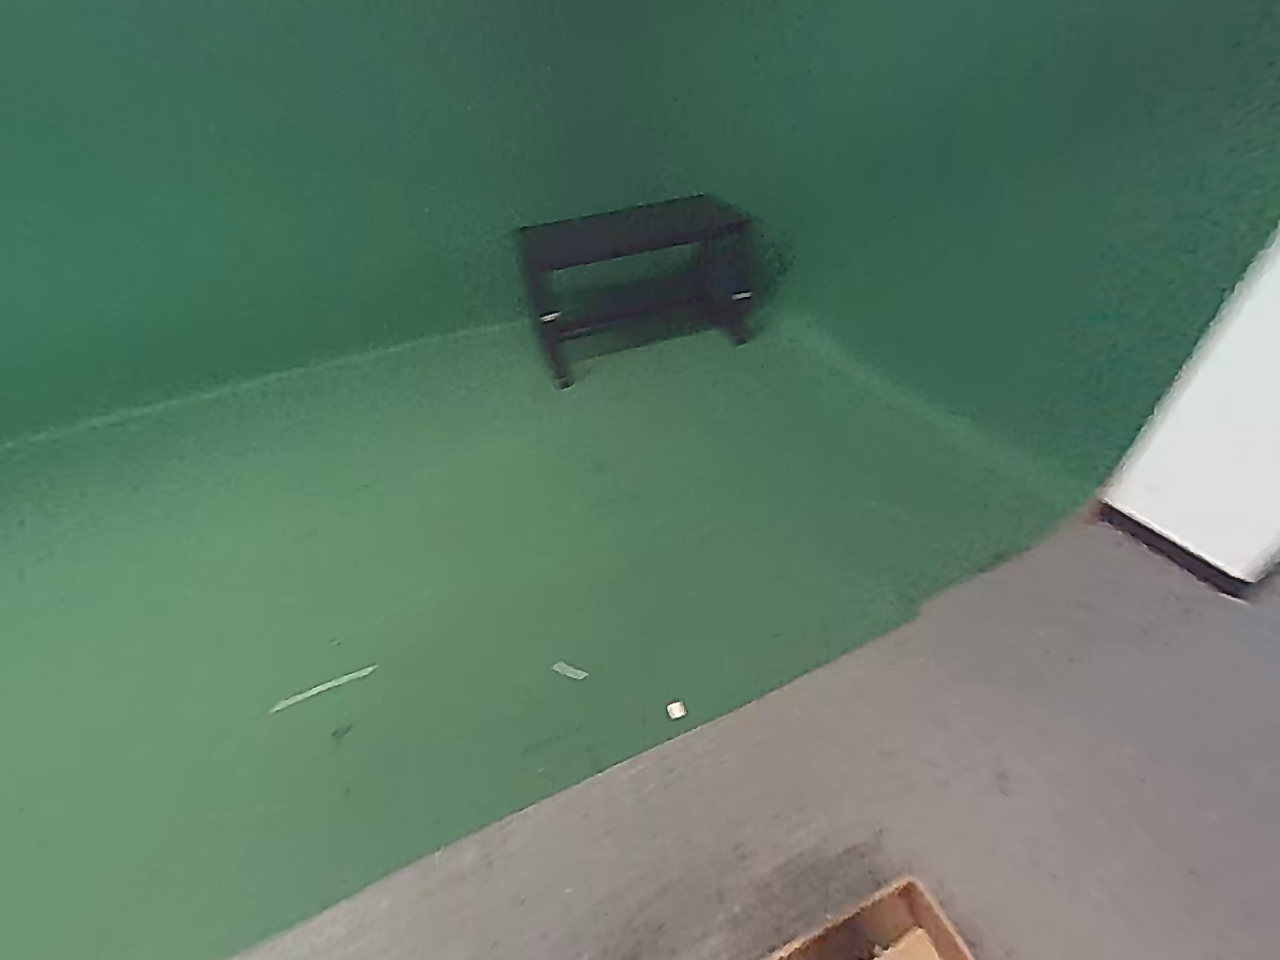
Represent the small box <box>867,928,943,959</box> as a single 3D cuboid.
[{"bbox_3d":[0.457,0.925,0.932,0.179,0.176,0.168,-19,43,-16],"label":"small box"}]
